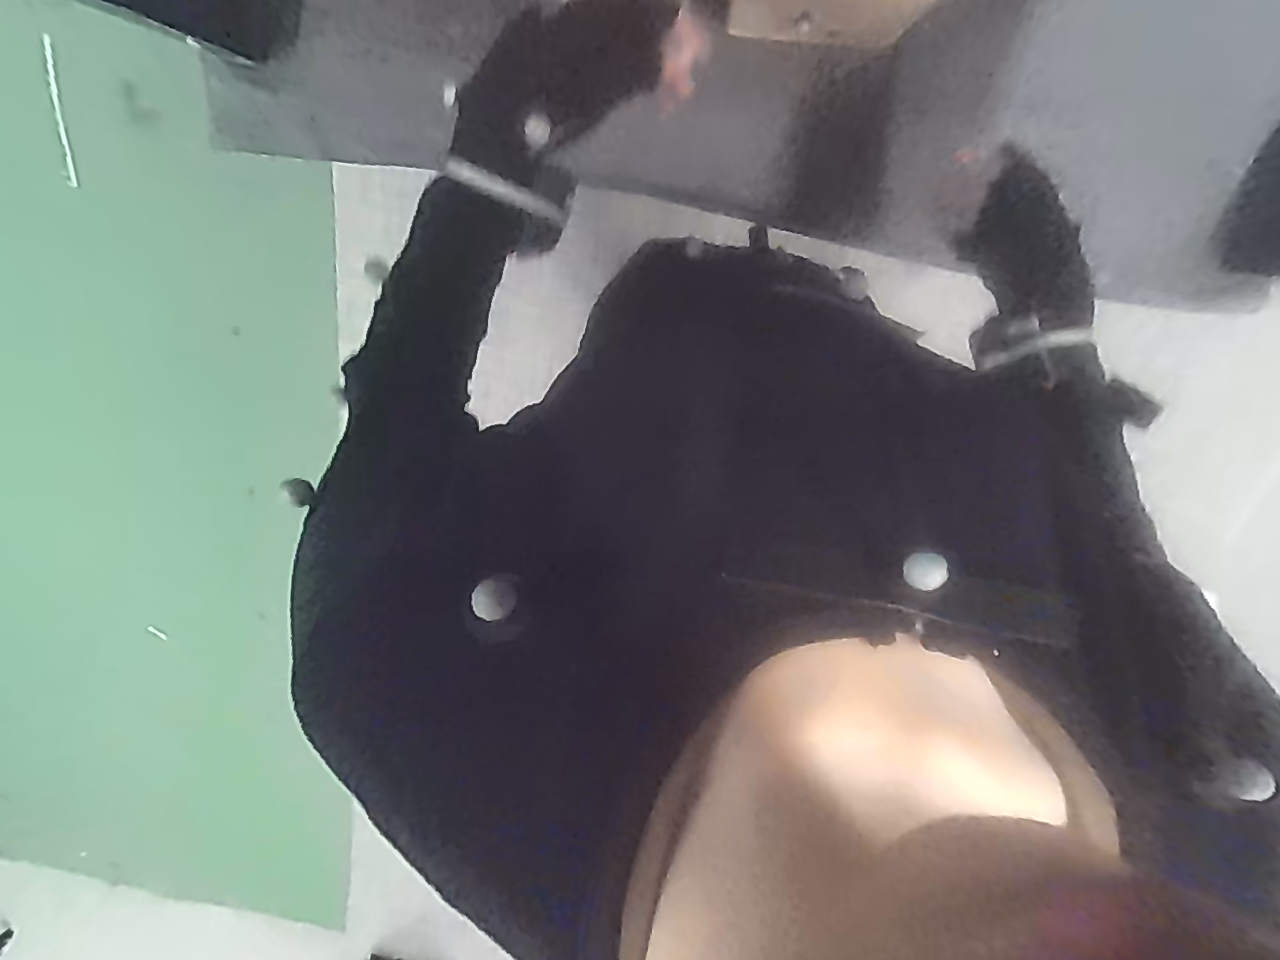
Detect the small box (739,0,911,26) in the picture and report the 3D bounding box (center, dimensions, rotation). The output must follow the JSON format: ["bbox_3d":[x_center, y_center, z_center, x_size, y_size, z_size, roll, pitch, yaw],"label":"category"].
[{"bbox_3d":[0.174,-0.512,0.439,0.168,0.176,0.179,6,116,2],"label":"small box"}]
